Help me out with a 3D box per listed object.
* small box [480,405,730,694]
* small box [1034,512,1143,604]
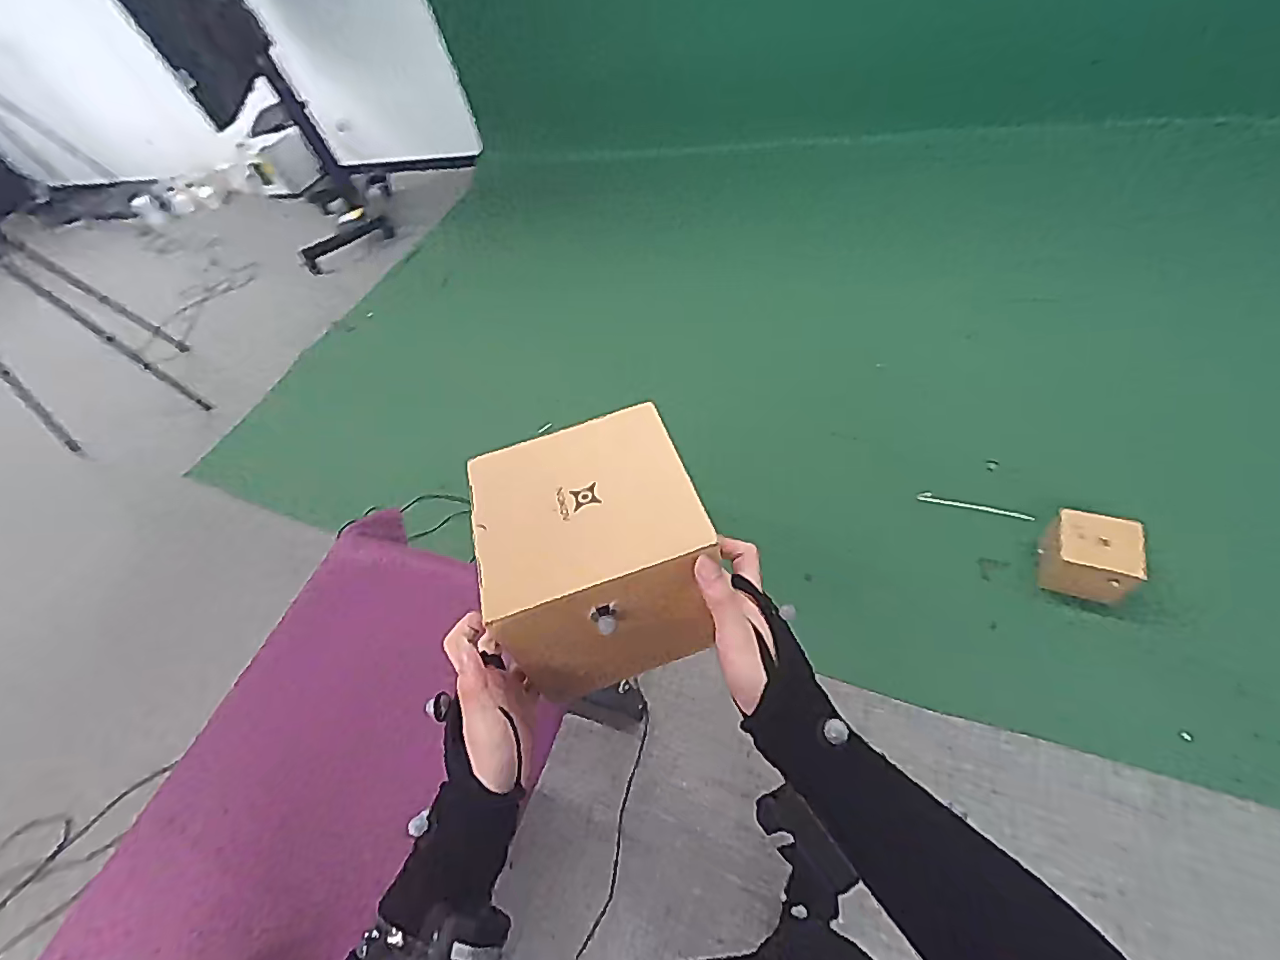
[{"bbox_3d":[-0.026,0.067,0.491,0.179,0.176,0.168,-19,48,-2],"label":"small box"},{"bbox_3d":[1.198,0.214,1.451,0.179,0.176,0.168,13,58,23],"label":"small box"}]
